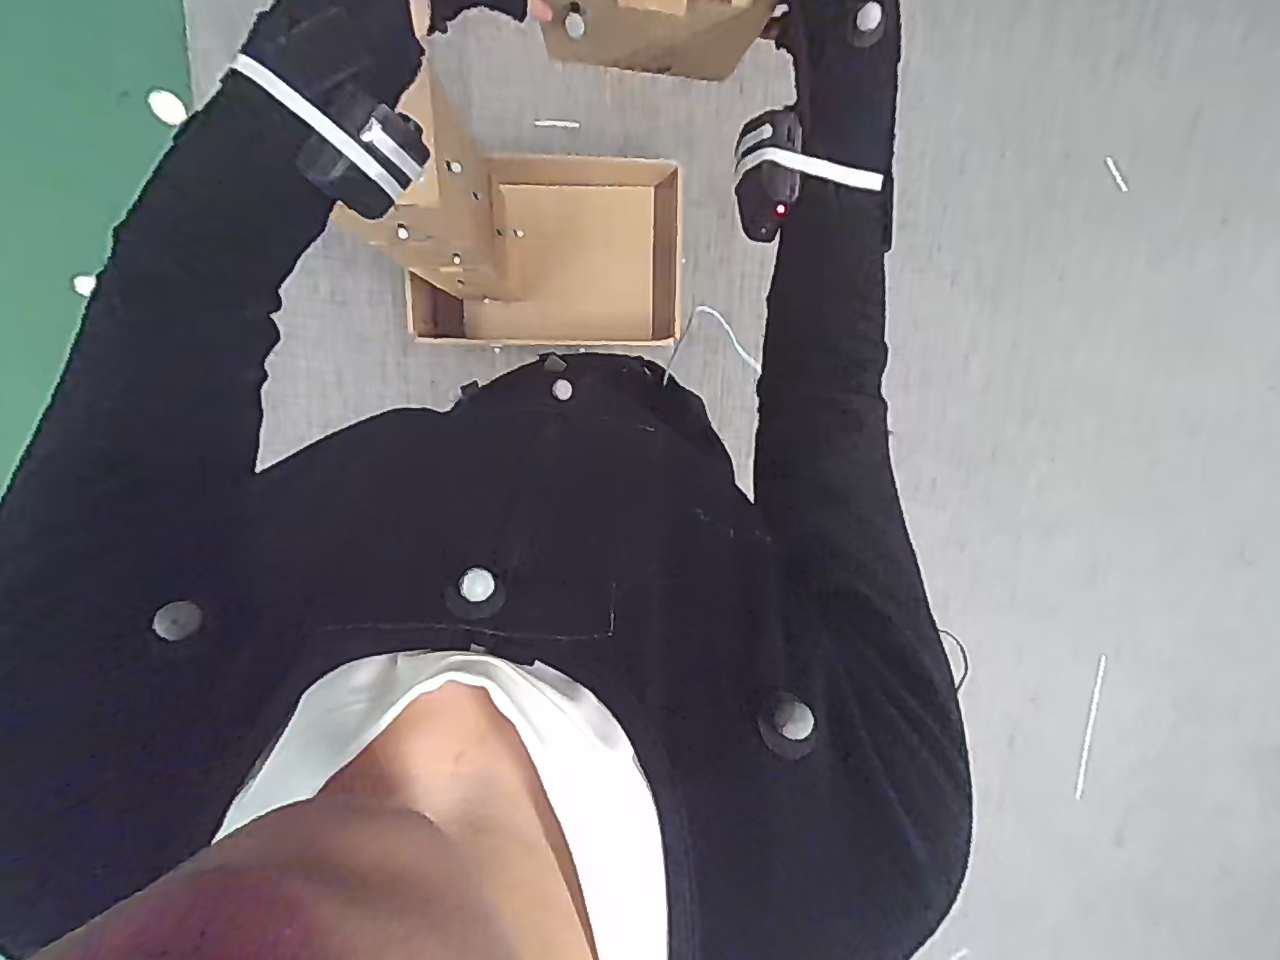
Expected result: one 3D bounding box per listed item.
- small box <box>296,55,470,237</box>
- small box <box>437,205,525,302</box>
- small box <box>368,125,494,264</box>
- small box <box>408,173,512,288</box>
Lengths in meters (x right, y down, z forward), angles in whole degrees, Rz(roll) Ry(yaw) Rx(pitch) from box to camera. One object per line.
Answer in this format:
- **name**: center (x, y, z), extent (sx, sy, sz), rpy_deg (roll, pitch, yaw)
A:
- **small box**: center (-0.343, -0.450, 0.758), extent (0.168, 0.176, 0.179), rpy_deg (-1, 100, -4)
- **small box**: center (-0.361, -0.519, 1.243), extent (0.168, 0.176, 0.179), rpy_deg (2, 99, -2)
- **small box**: center (-0.351, -0.473, 0.920), extent (0.168, 0.176, 0.179), rpy_deg (-1, 99, -3)
- **small box**: center (-0.355, -0.494, 1.082), extent (0.168, 0.176, 0.179), rpy_deg (1, 100, -3)
